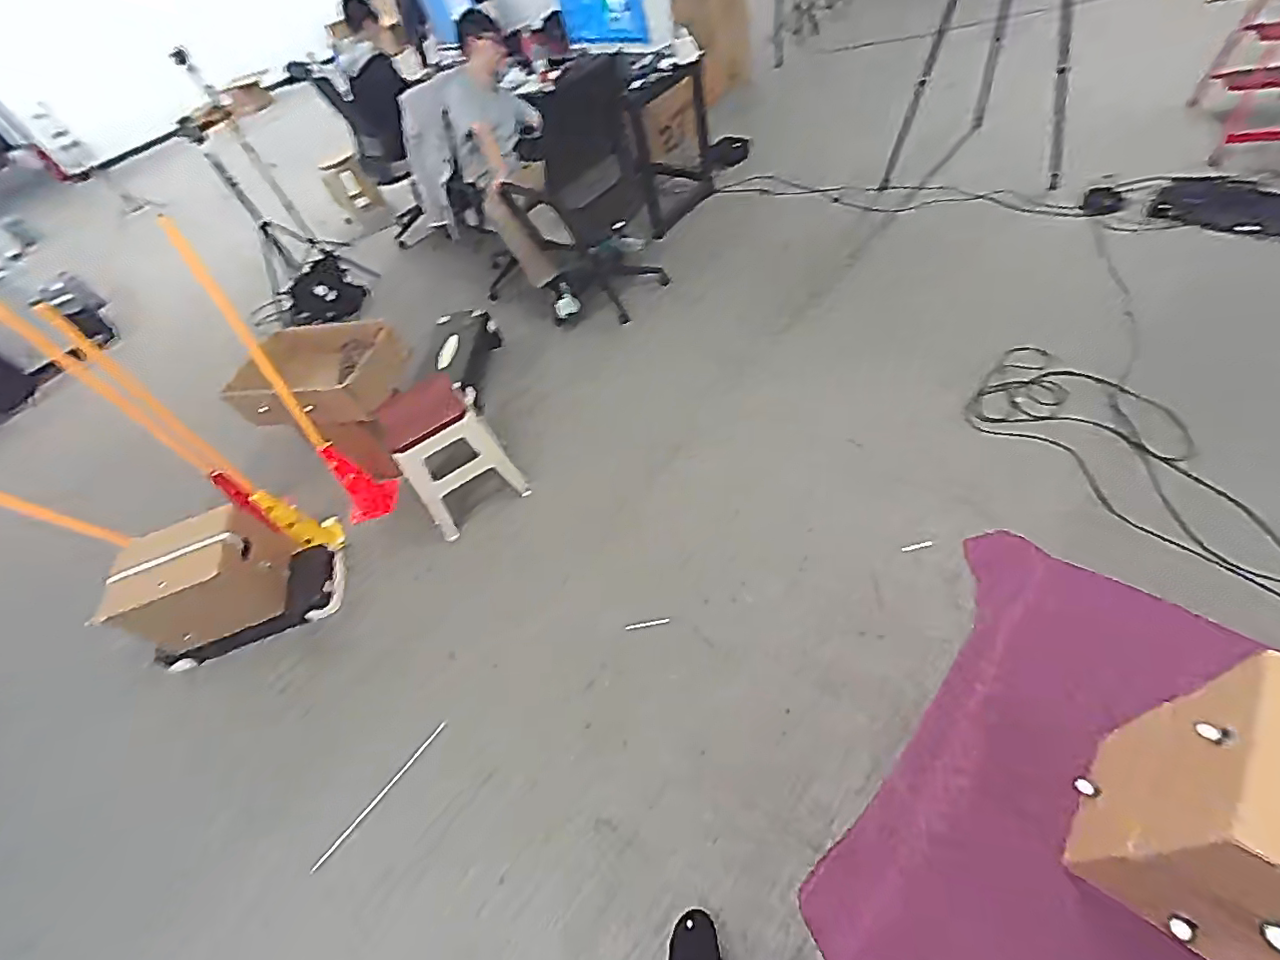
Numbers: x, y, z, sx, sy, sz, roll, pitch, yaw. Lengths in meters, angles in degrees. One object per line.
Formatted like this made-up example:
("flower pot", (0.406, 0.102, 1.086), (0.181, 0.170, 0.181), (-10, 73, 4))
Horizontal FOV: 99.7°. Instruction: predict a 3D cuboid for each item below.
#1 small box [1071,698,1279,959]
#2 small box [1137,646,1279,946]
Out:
("small box", (0.597, 0.374, 0.572), (0.168, 0.176, 0.179), (26, 64, 32))
("small box", (0.561, 0.278, 0.444), (0.168, 0.176, 0.179), (26, 64, 32))
